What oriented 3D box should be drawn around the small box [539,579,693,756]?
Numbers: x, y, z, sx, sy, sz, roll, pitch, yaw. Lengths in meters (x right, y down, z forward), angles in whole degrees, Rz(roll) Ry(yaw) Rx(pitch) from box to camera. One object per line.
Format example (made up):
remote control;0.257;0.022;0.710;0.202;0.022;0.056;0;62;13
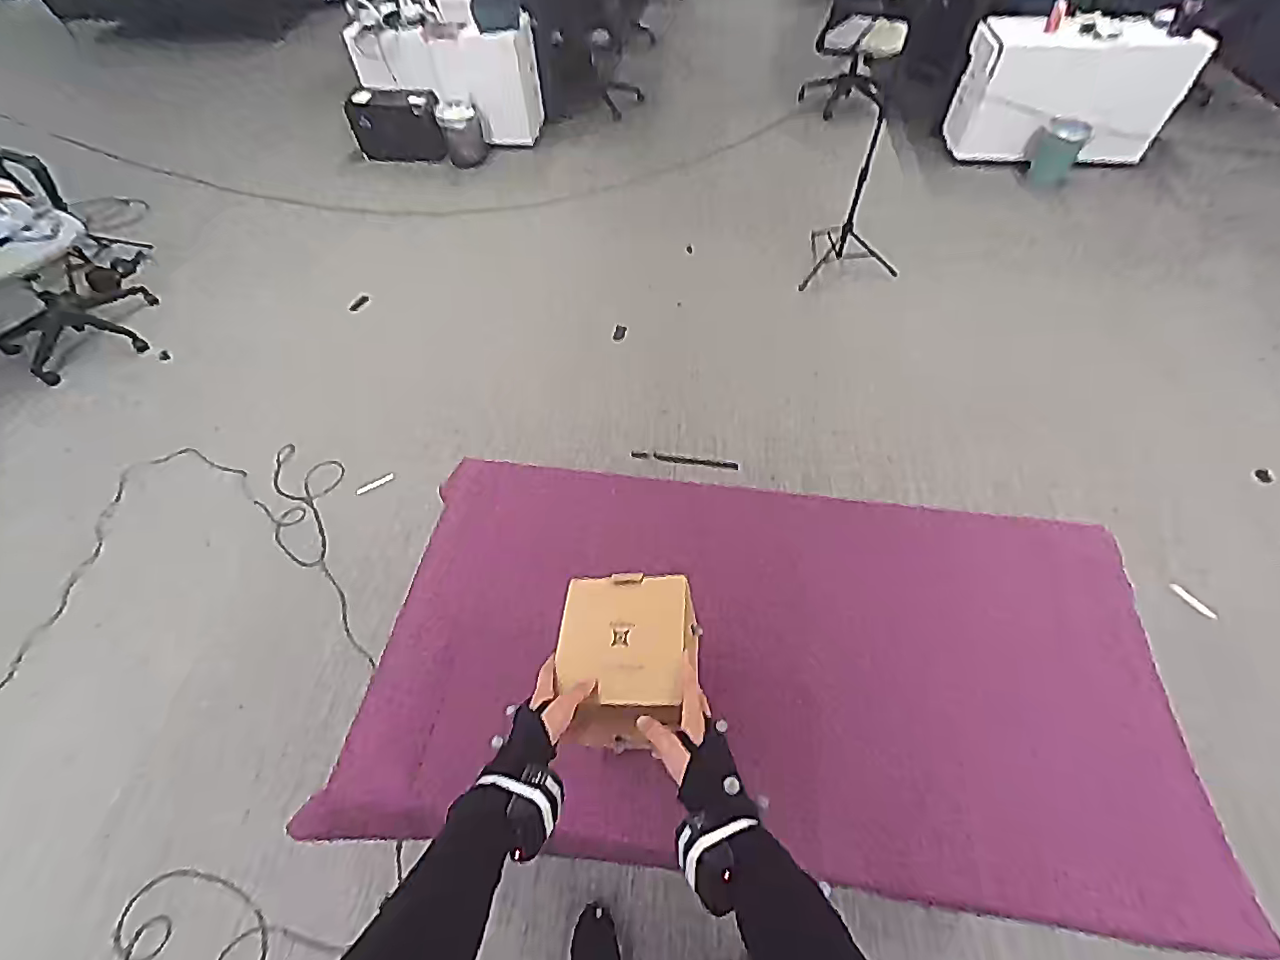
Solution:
small box;-0.020;0.253;0.737;0.168;0.176;0.179;-3;47;11
